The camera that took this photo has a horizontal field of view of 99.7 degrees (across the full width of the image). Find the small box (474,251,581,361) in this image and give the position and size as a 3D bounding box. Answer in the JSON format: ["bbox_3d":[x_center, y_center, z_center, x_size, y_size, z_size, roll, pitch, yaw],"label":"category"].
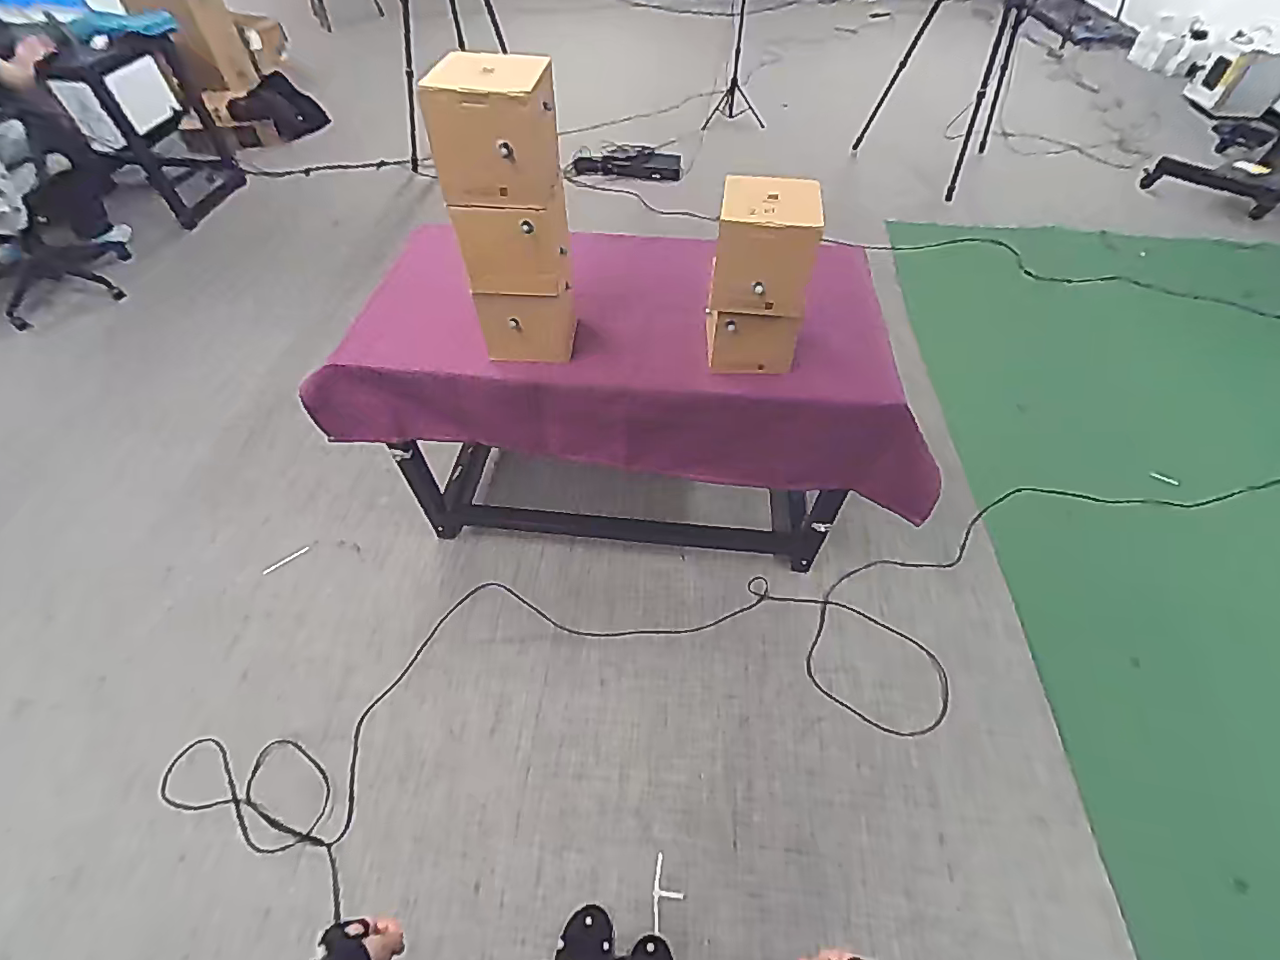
[{"bbox_3d":[-0.228,-0.367,1.143,0.179,0.176,0.168,3,52,2],"label":"small box"}]

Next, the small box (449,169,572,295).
[{"bbox_3d":[-0.230,-0.464,1.012,0.179,0.176,0.168,3,51,1],"label":"small box"}]

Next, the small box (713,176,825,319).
[{"bbox_3d":[0.225,-0.415,0.969,0.168,0.176,0.179,8,52,6],"label":"small box"}]

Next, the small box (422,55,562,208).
[{"bbox_3d":[-0.227,-0.568,0.887,0.168,0.176,0.179,6,51,2],"label":"small box"}]
